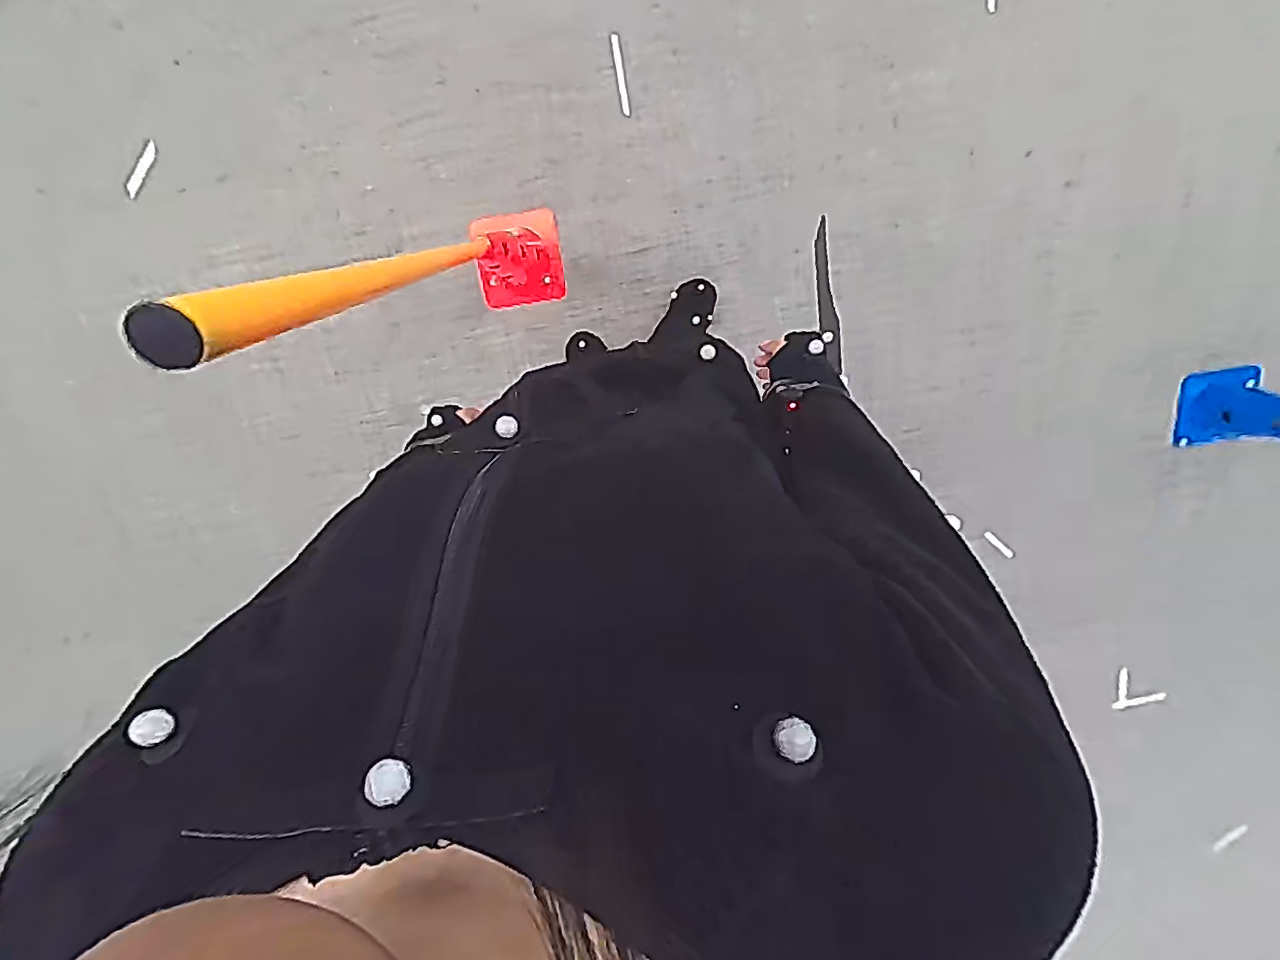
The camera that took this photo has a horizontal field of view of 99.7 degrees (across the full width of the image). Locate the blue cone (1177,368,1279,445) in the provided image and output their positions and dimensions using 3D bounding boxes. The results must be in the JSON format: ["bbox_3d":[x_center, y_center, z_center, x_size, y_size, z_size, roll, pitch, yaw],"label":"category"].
[{"bbox_3d":[1.529,-0.140,1.272,0.193,0.380,0.192,-7,109,1],"label":"blue cone"}]

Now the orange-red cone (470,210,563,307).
[{"bbox_3d":[-0.281,-0.460,1.098,0.198,0.360,0.199,-7,108,1],"label":"orange-red cone"}]
